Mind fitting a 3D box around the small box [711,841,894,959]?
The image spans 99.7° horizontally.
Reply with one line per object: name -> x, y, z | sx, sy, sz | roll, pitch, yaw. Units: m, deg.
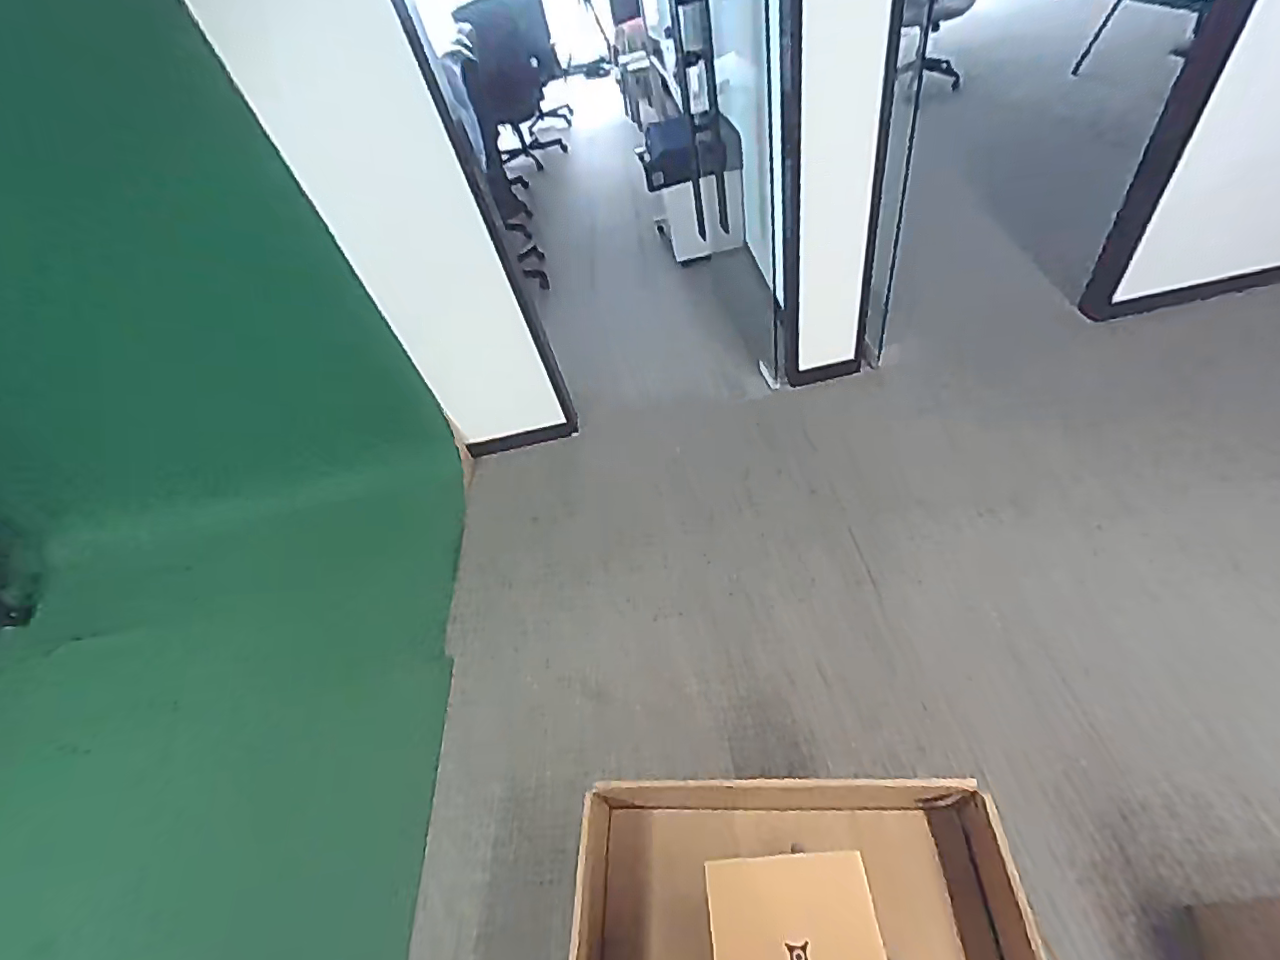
small box -> 0.170, 0.503, 0.578 | 0.168, 0.176, 0.179 | -9, 52, 6
